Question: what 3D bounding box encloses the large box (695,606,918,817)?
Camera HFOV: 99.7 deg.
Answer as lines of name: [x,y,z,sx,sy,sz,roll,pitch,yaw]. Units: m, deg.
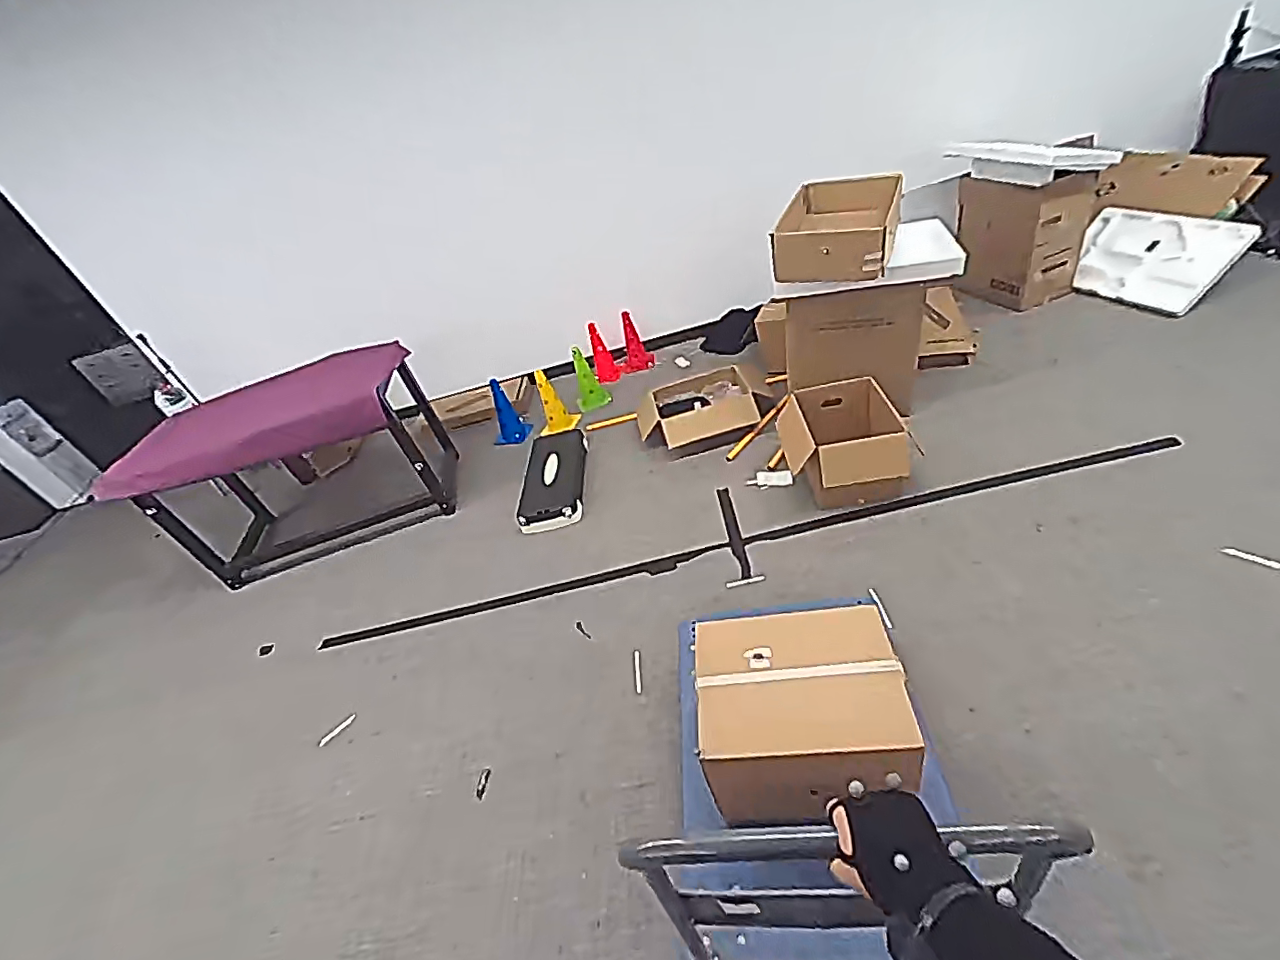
large box: [0.355,0.523,1.211,0.408,0.320,0.320,-11,37,12]
